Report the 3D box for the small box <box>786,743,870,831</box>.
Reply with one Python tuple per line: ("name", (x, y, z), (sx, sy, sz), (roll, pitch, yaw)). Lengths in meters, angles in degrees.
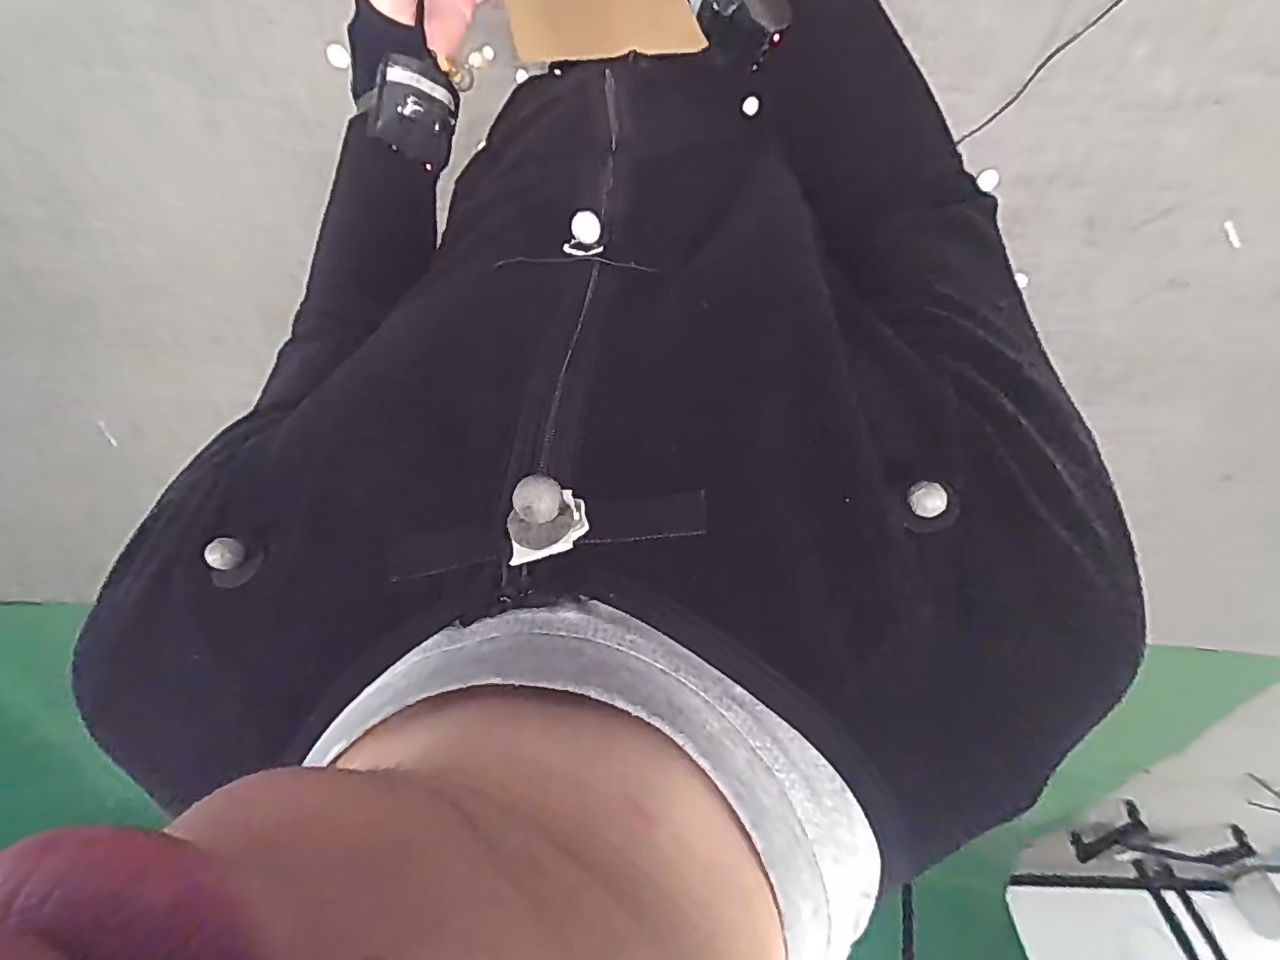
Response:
("small box", (0.517, 0.863, 1.518), (0.168, 0.176, 0.179), (1, 131, 0))
